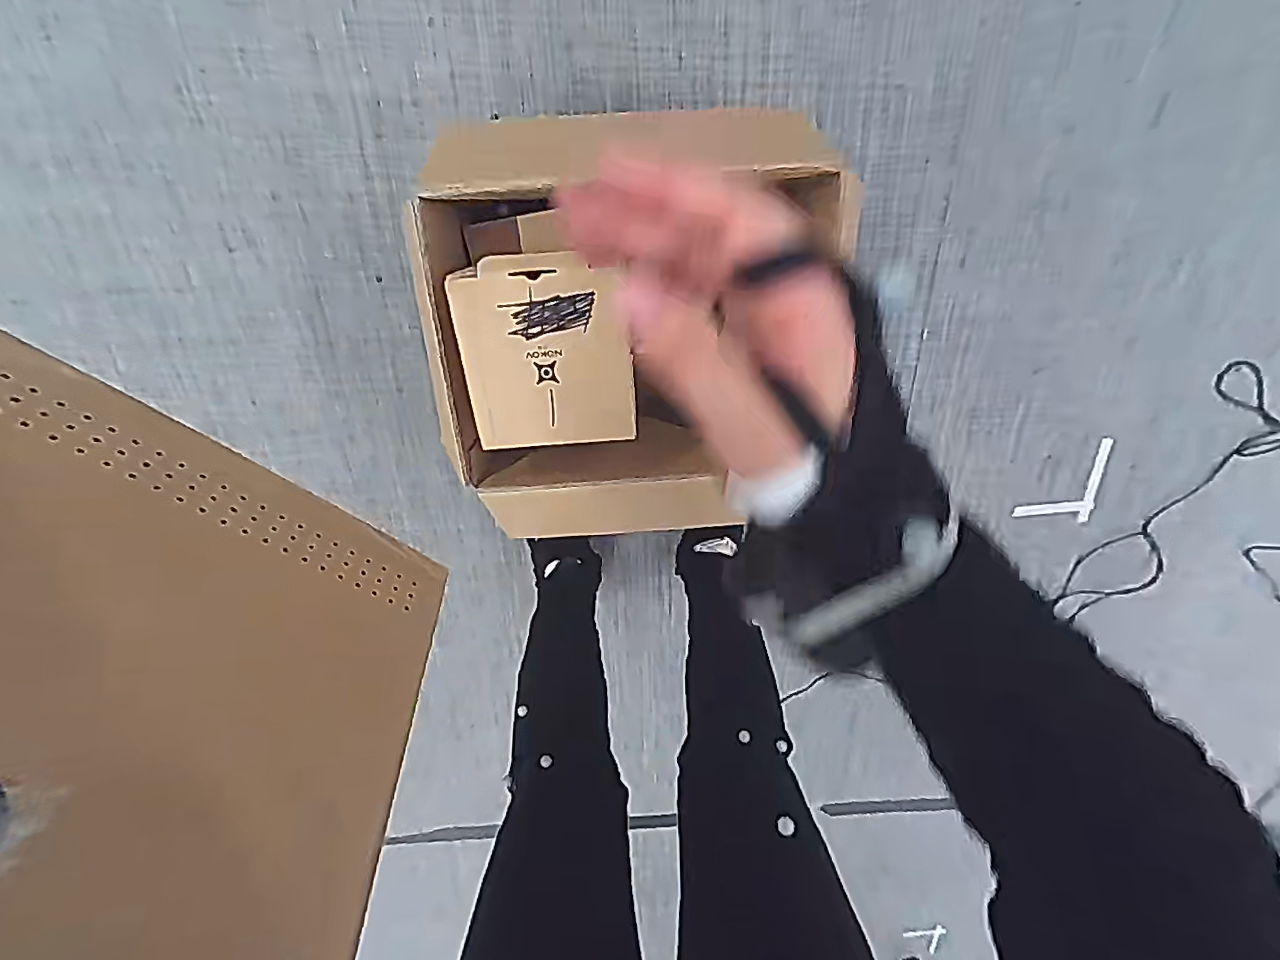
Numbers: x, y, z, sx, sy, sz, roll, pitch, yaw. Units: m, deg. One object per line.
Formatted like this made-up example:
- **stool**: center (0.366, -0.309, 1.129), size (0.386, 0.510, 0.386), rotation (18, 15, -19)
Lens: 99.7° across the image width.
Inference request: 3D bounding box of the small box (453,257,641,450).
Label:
- **small box**: center (-0.088, -0.149, 0.600), size (0.168, 0.176, 0.179), rotation (-4, 117, 1)
